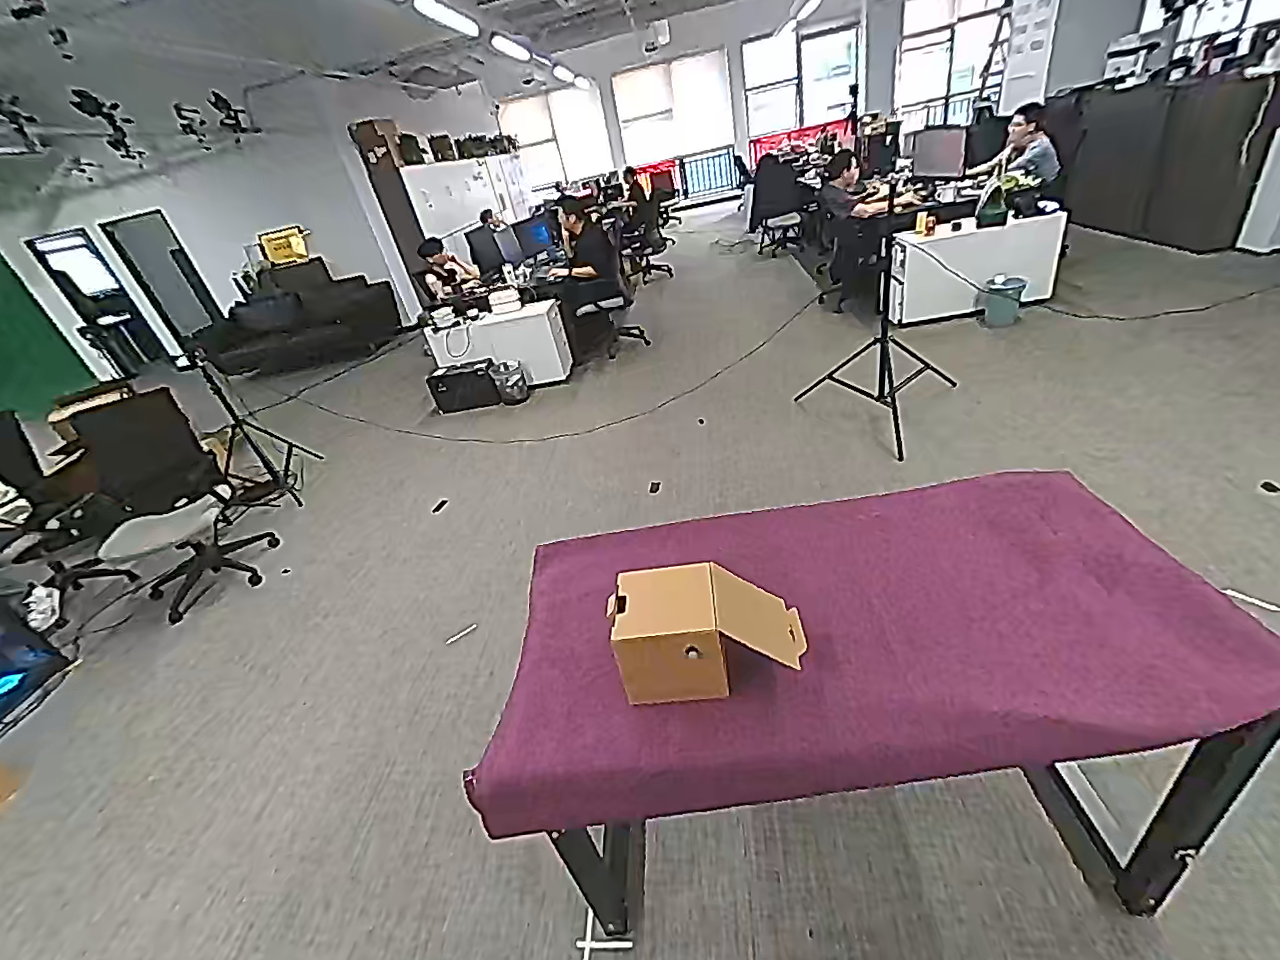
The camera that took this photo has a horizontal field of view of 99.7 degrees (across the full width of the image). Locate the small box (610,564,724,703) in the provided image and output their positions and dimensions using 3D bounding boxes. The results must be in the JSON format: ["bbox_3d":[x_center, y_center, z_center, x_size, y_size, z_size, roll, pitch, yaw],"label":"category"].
[{"bbox_3d":[0.055,0.275,0.970,0.179,0.176,0.168,-9,30,8],"label":"small box"}]
